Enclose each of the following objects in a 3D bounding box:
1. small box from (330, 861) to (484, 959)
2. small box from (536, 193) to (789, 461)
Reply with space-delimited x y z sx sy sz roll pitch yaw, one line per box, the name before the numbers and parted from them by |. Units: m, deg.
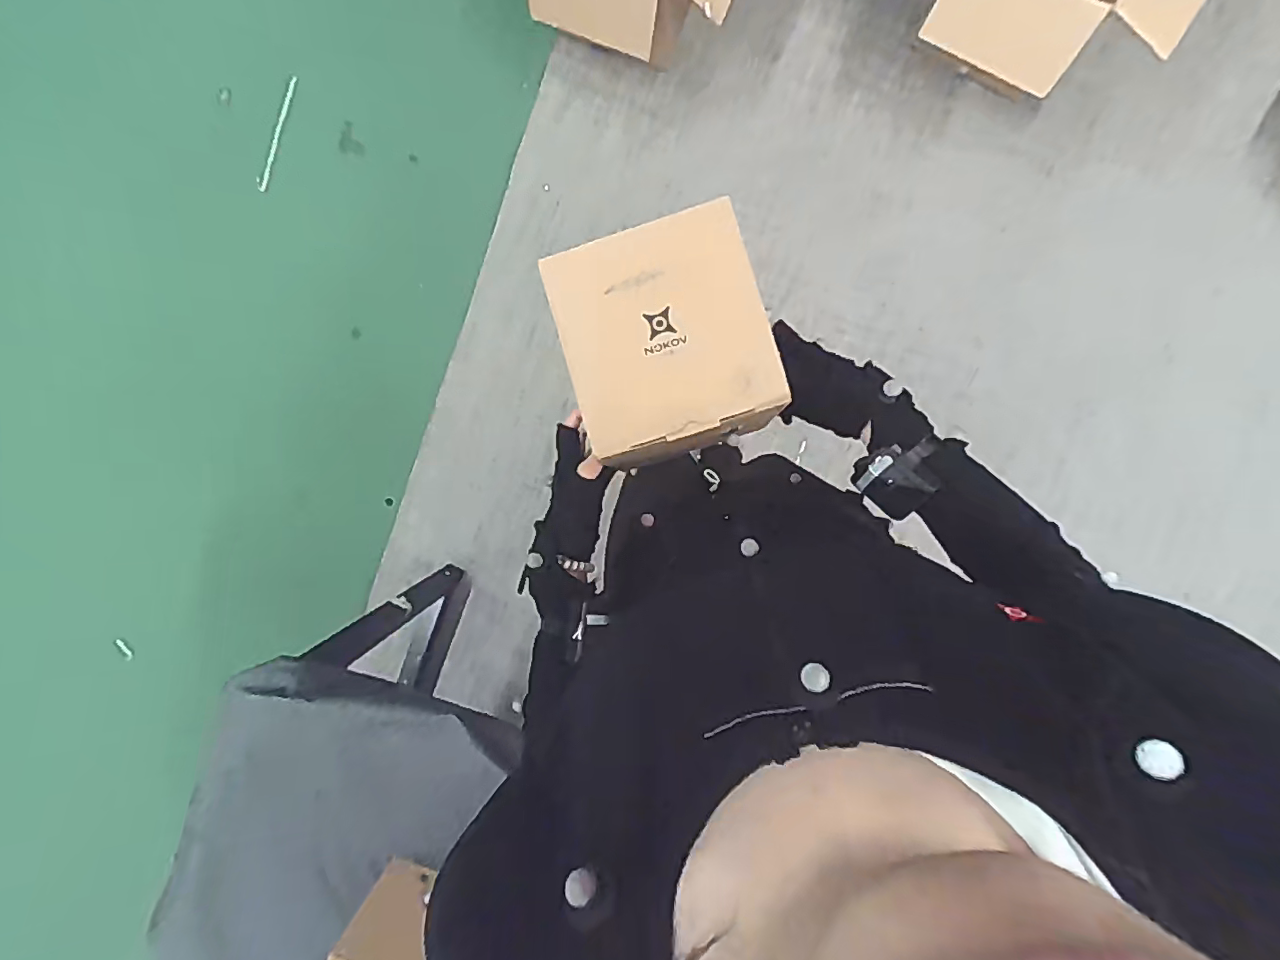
small box | -0.345 0.712 0.780 0.168 0.176 0.179 19 97 1
small box | 0.024 -0.121 0.508 0.168 0.176 0.179 -17 87 4
